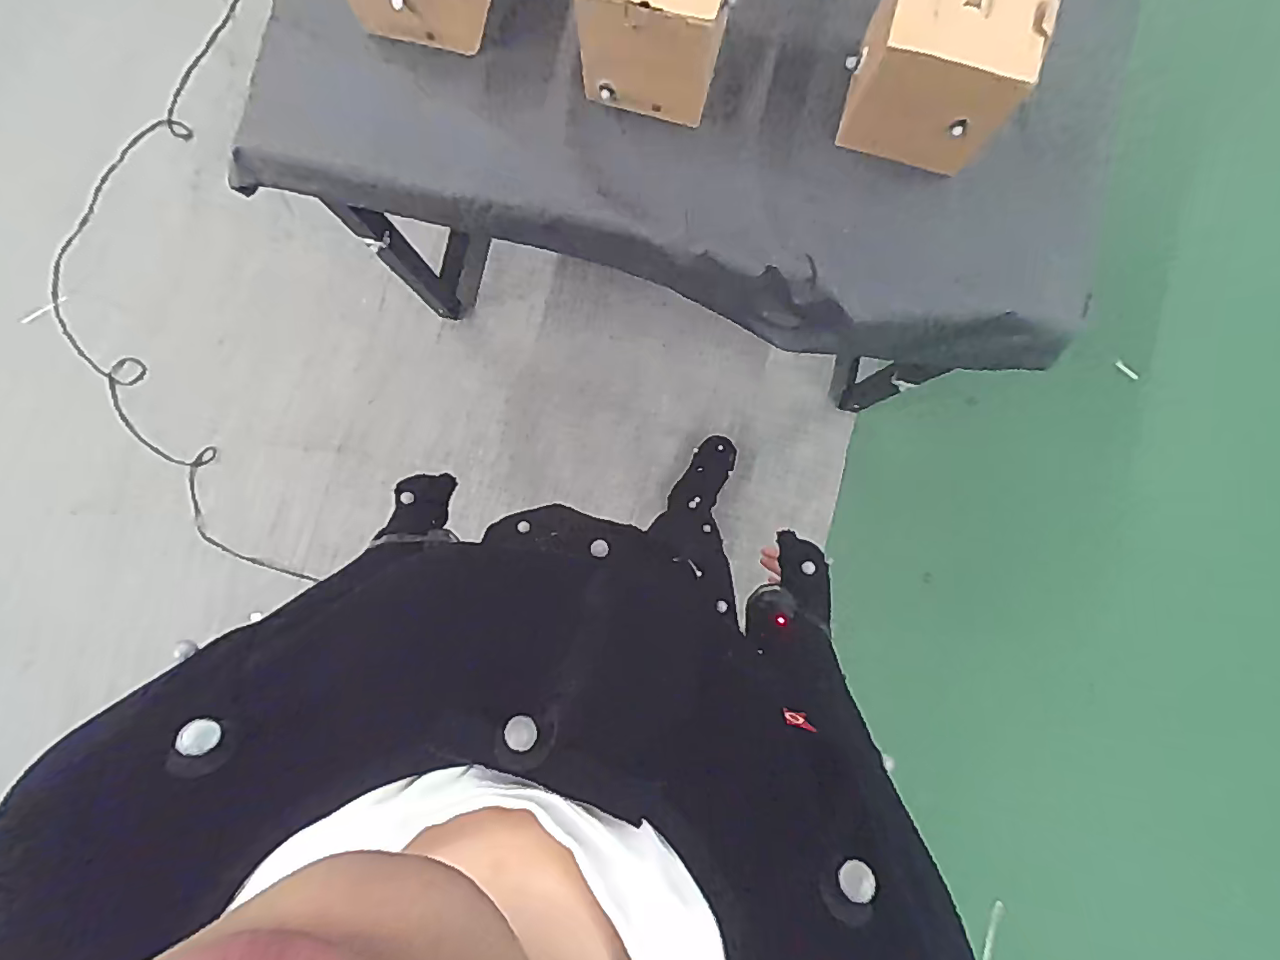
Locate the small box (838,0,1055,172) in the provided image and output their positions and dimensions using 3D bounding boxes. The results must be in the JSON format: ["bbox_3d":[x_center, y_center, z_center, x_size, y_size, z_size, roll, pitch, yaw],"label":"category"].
[{"bbox_3d":[0.382,-0.533,0.694,0.179,0.176,0.168,15,86,3],"label":"small box"}]

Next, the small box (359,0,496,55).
[{"bbox_3d":[-0.287,-0.709,0.703,0.168,0.176,0.179,12,87,1],"label":"small box"}]

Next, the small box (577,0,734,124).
[{"bbox_3d":[0.029,-0.608,0.697,0.168,0.176,0.179,15,86,1],"label":"small box"}]
